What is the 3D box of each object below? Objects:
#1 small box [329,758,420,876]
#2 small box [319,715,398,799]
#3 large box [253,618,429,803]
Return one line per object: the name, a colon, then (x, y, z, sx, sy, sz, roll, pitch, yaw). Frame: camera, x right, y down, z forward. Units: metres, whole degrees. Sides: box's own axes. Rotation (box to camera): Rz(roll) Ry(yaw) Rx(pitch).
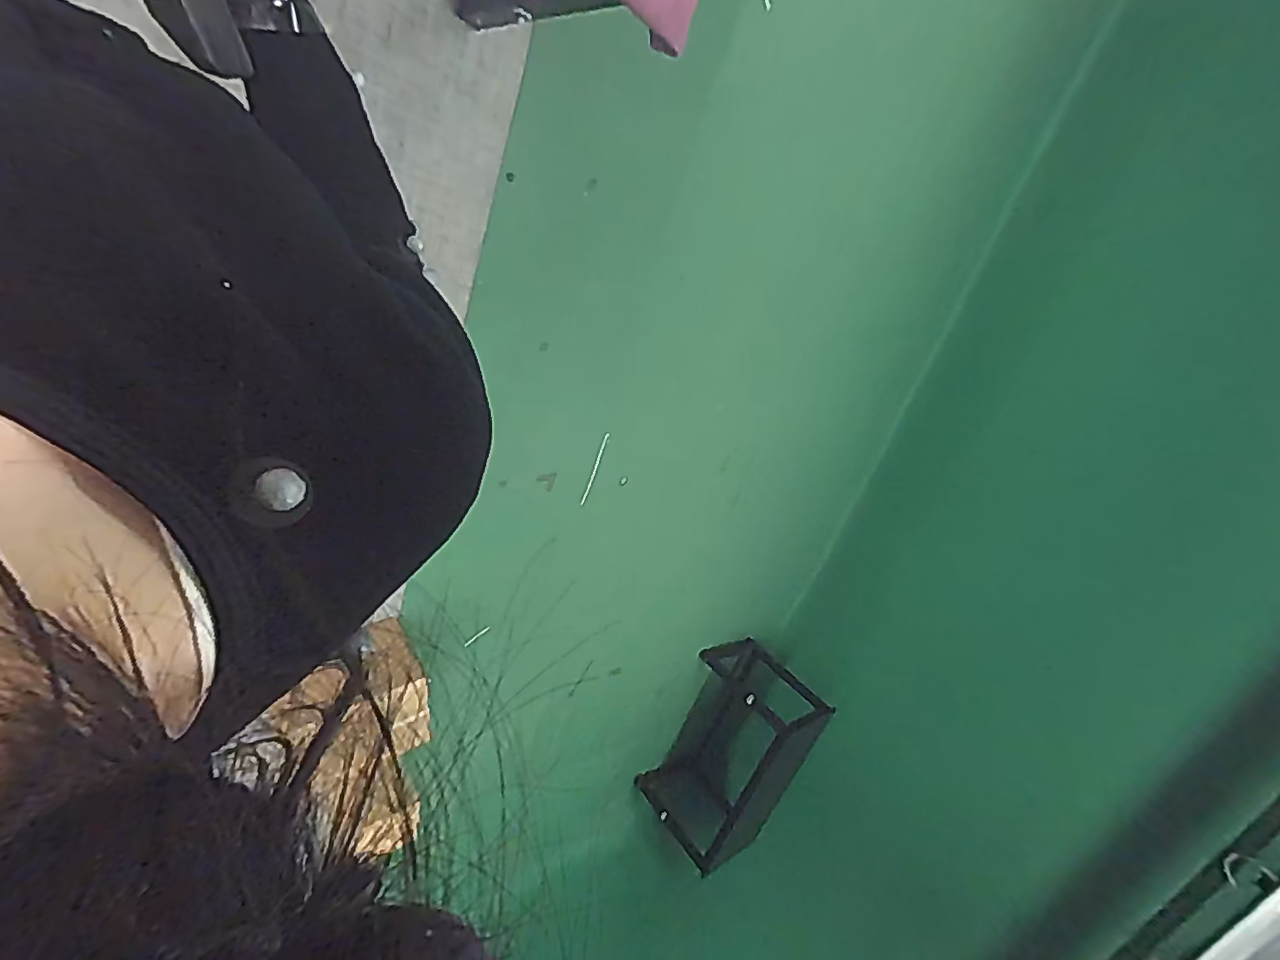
small box: (-0.705, 0.880, 1.432, 0.179, 0.176, 0.168, -7, 122, -40)
small box: (-0.801, 0.800, 1.535, 0.168, 0.176, 0.179, -9, 123, -40)
large box: (-0.939, 0.709, 1.722, 0.408, 0.320, 0.320, -16, 129, -38)
